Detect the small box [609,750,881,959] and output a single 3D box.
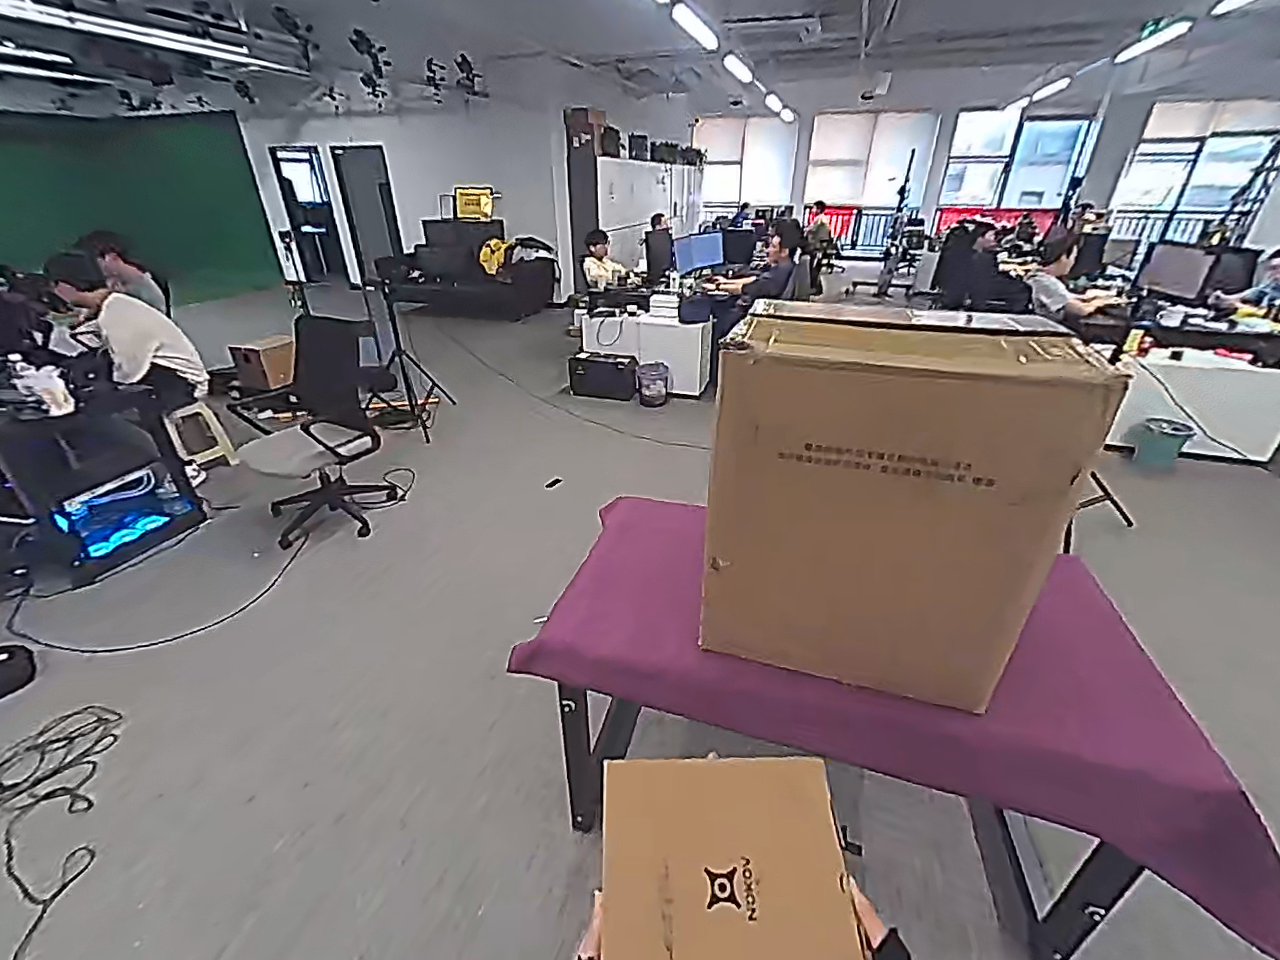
[{"bbox_3d":[0.065,0.327,0.431,0.179,0.176,0.168,-1,47,-1],"label":"small box"}]
